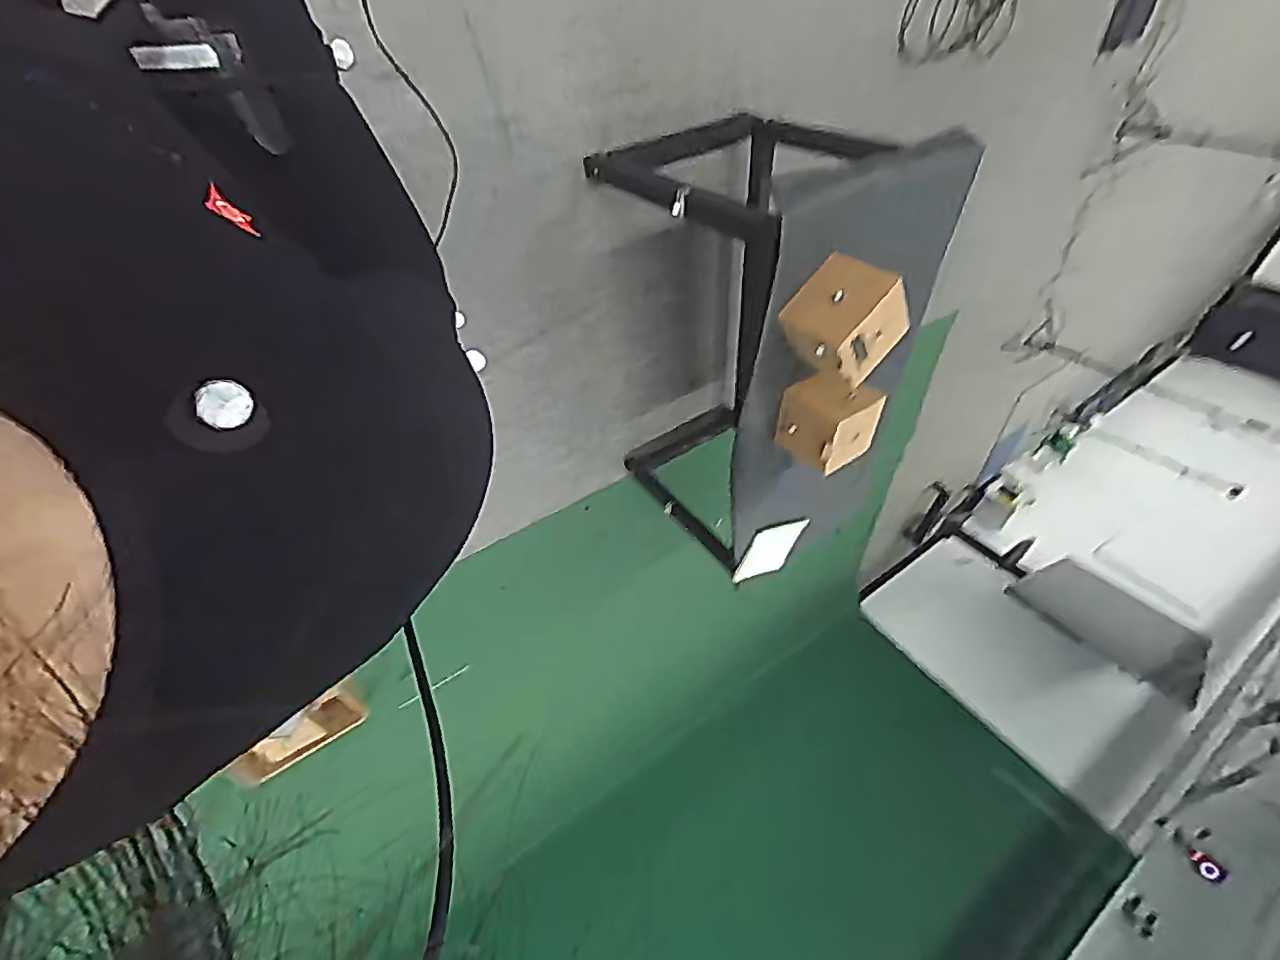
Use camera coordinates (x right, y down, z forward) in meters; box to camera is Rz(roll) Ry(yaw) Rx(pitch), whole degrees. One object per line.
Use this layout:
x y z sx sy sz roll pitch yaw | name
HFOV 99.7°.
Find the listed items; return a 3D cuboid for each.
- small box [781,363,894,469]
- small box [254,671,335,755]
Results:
0.478 -0.164 1.327 0.179 0.176 0.168 -26 137 -23 | small box
-1.159 0.778 1.814 0.168 0.176 0.179 -27 138 -19 | small box
